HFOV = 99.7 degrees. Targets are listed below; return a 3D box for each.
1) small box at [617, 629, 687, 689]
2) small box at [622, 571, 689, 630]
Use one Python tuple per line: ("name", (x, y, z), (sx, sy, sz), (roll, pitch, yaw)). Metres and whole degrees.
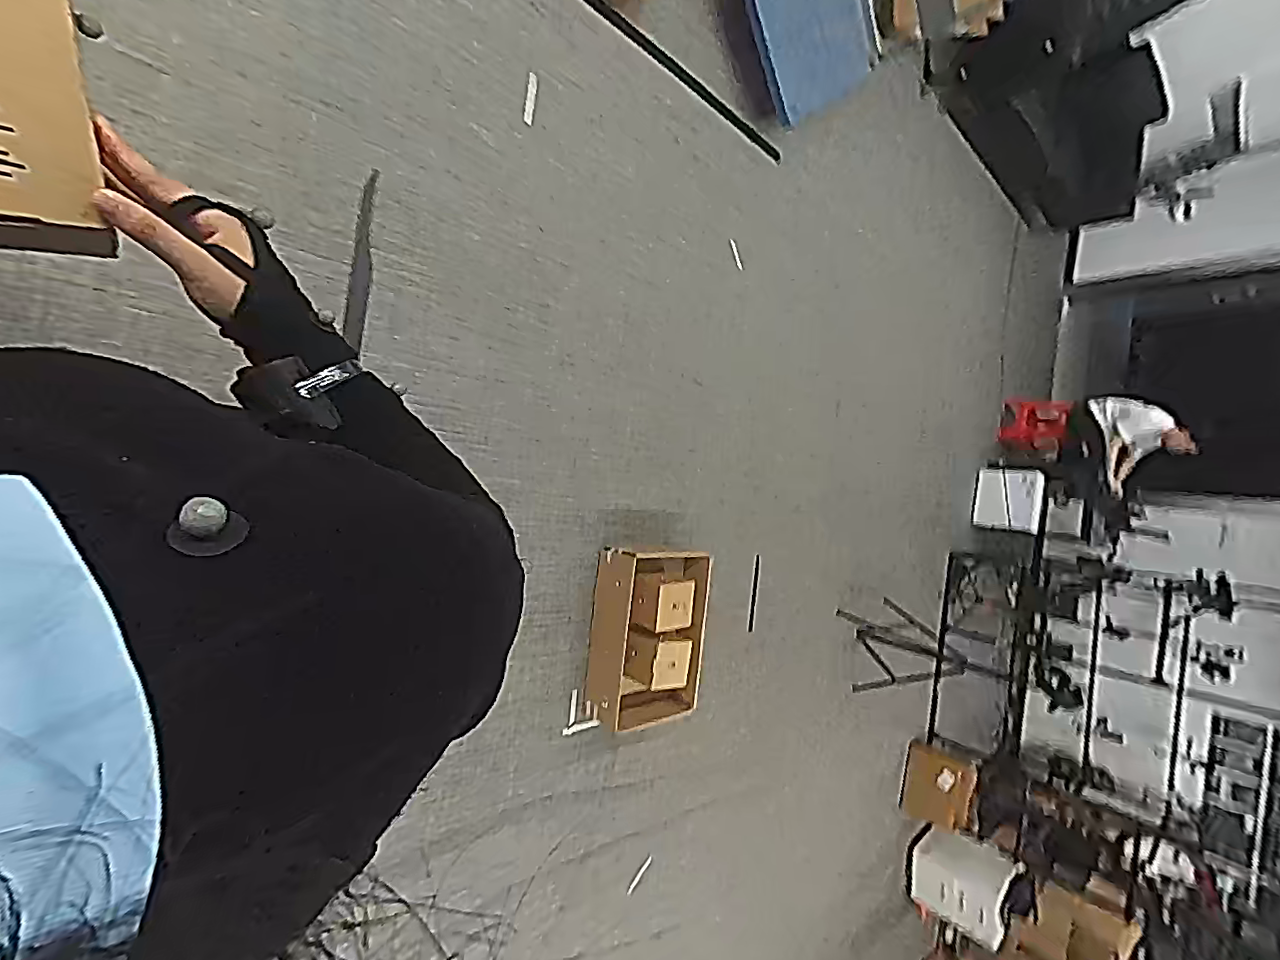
("small box", (0.044, 0.651, 1.987), (0.179, 0.176, 0.168), (13, 85, -41))
("small box", (0.054, 0.434, 1.971), (0.179, 0.176, 0.168), (3, 94, -42))
